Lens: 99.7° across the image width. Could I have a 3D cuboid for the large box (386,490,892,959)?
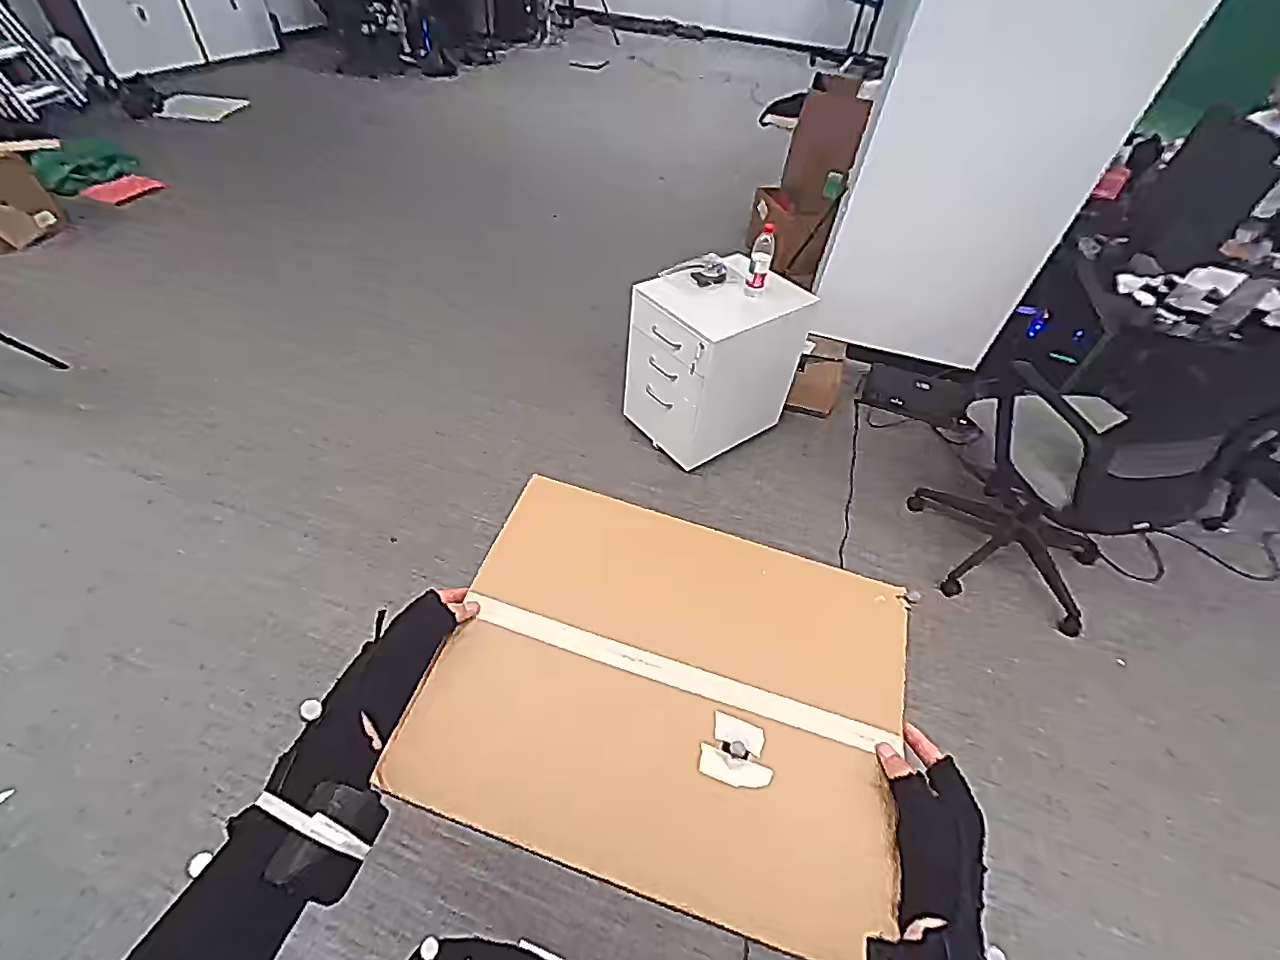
[{"bbox_3d":[0.013,0.267,0.613,0.408,0.320,0.320,18,56,6],"label":"large box"}]
